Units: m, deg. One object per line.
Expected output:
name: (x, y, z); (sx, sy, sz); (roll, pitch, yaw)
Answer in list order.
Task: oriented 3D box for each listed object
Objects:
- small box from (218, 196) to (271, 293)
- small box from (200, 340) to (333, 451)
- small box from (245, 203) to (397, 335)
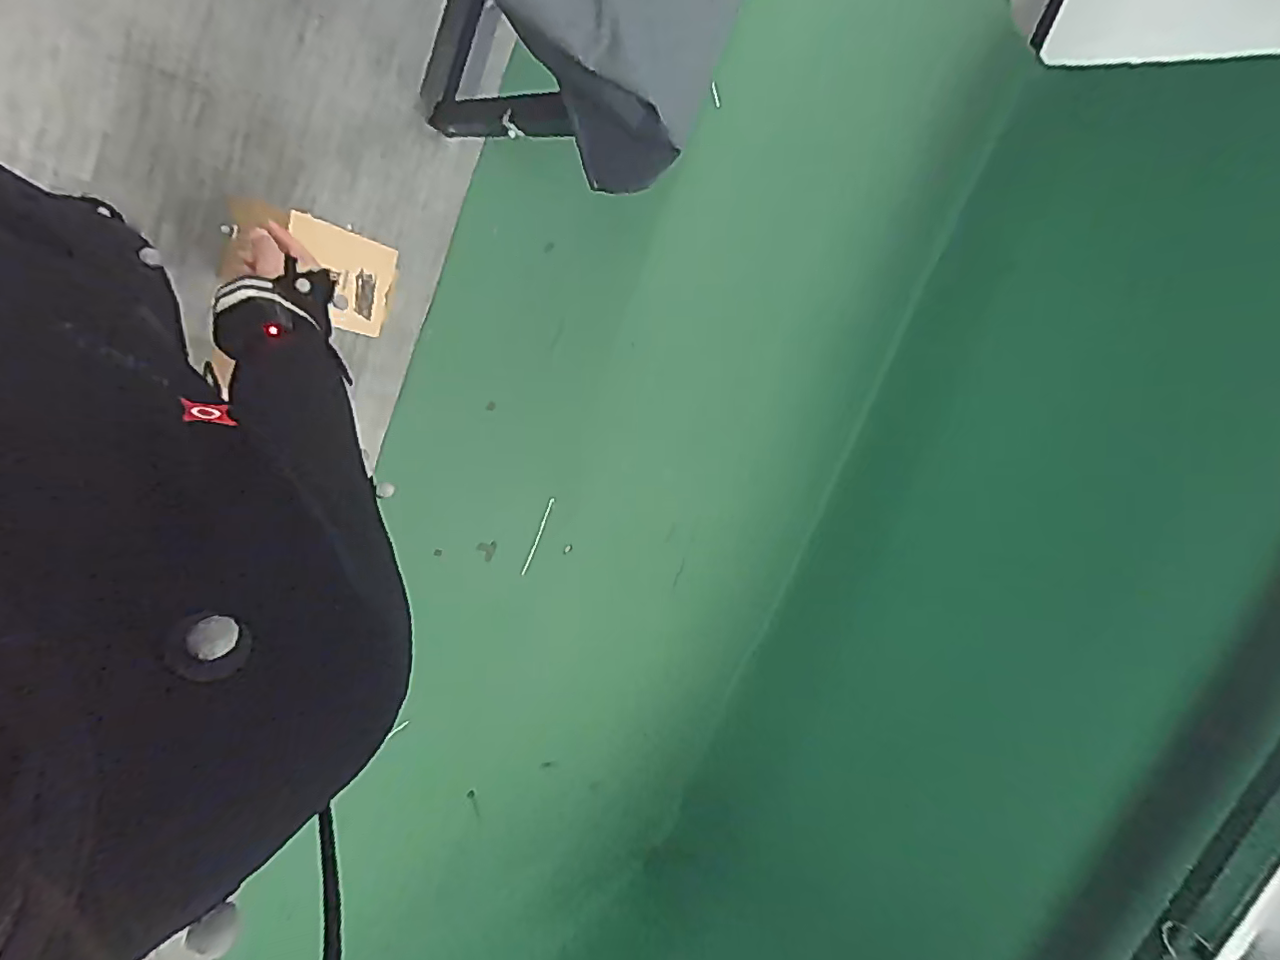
small box: (-0.695, -0.442, 1.066); (0.179, 0.176, 0.168); (5, 108, -51)
small box: (-0.785, -0.179, 1.131); (0.179, 0.176, 0.168); (13, 104, -51)
small box: (-0.574, -0.380, 0.973); (0.179, 0.176, 0.168); (5, 108, -50)
